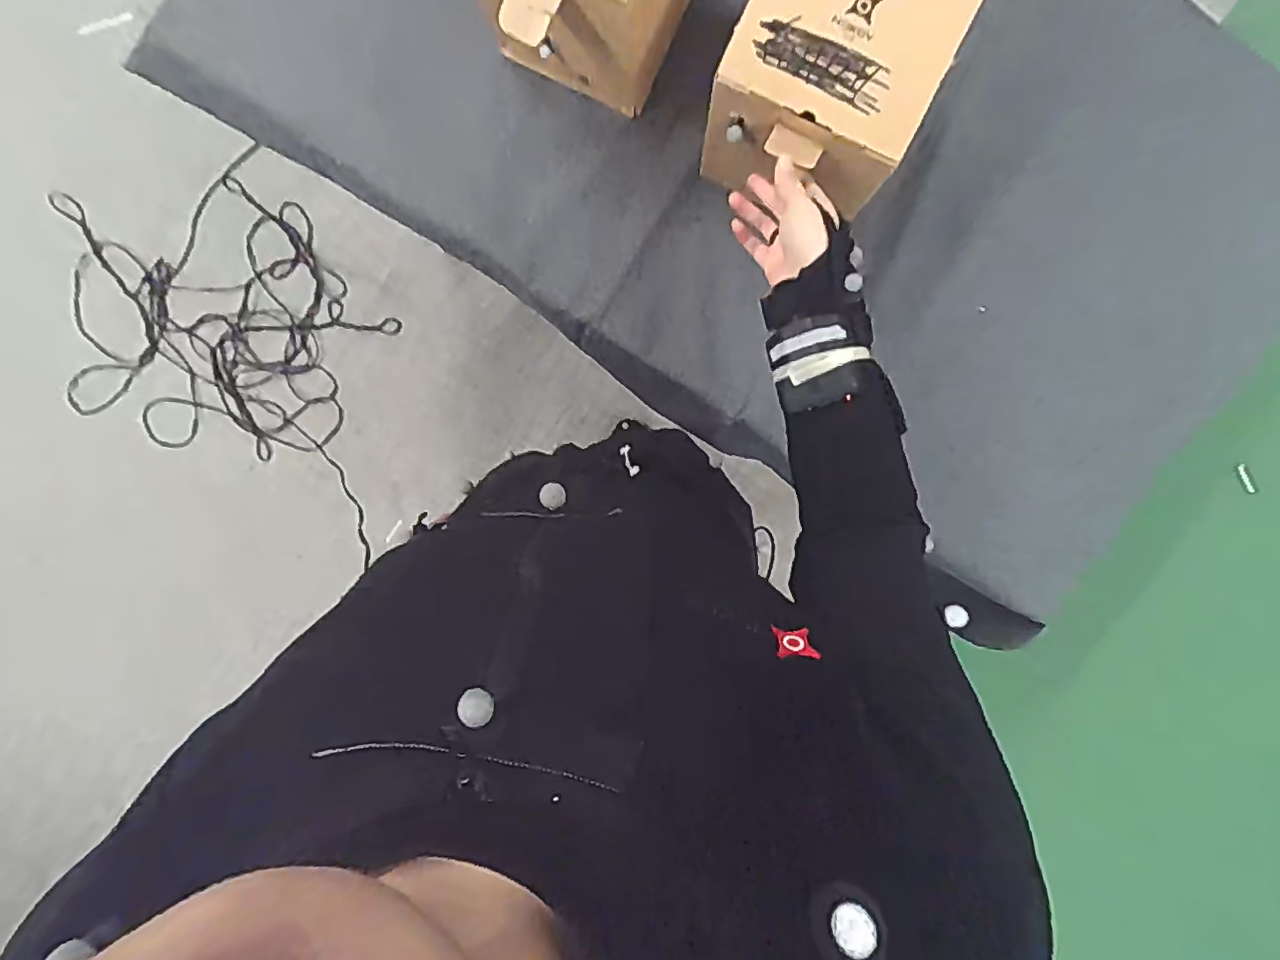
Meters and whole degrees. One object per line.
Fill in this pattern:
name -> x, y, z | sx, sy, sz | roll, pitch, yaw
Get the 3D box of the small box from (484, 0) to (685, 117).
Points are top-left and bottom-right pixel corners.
small box -> -0.046, -0.493, 0.499 | 0.168, 0.176, 0.179 | 25, 96, -1
